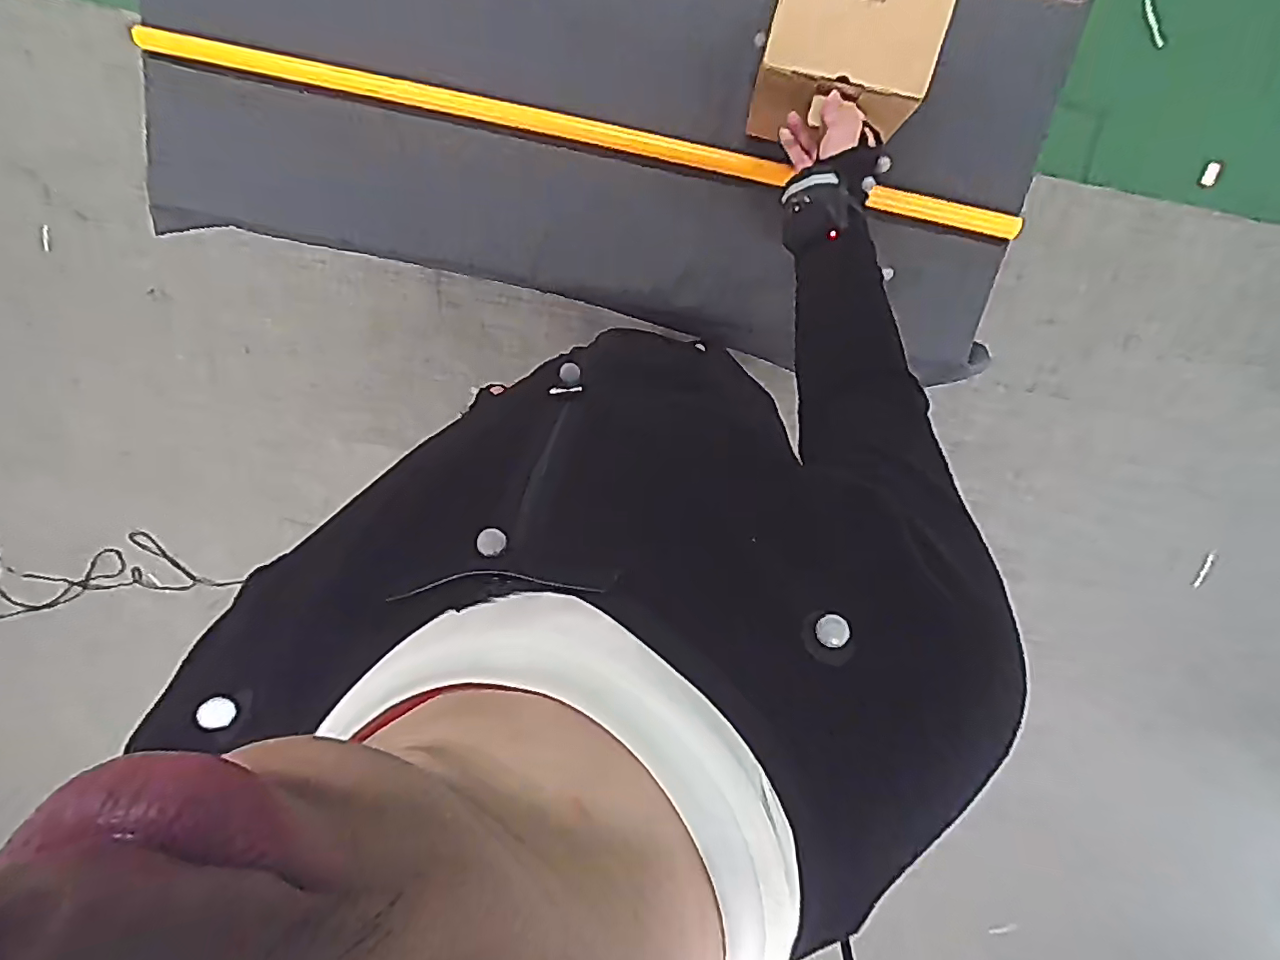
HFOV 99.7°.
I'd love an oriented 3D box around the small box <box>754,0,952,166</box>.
[{"bbox_3d":[0.231,-0.484,0.610,0.168,0.176,0.179,12,102,4],"label":"small box"}]
